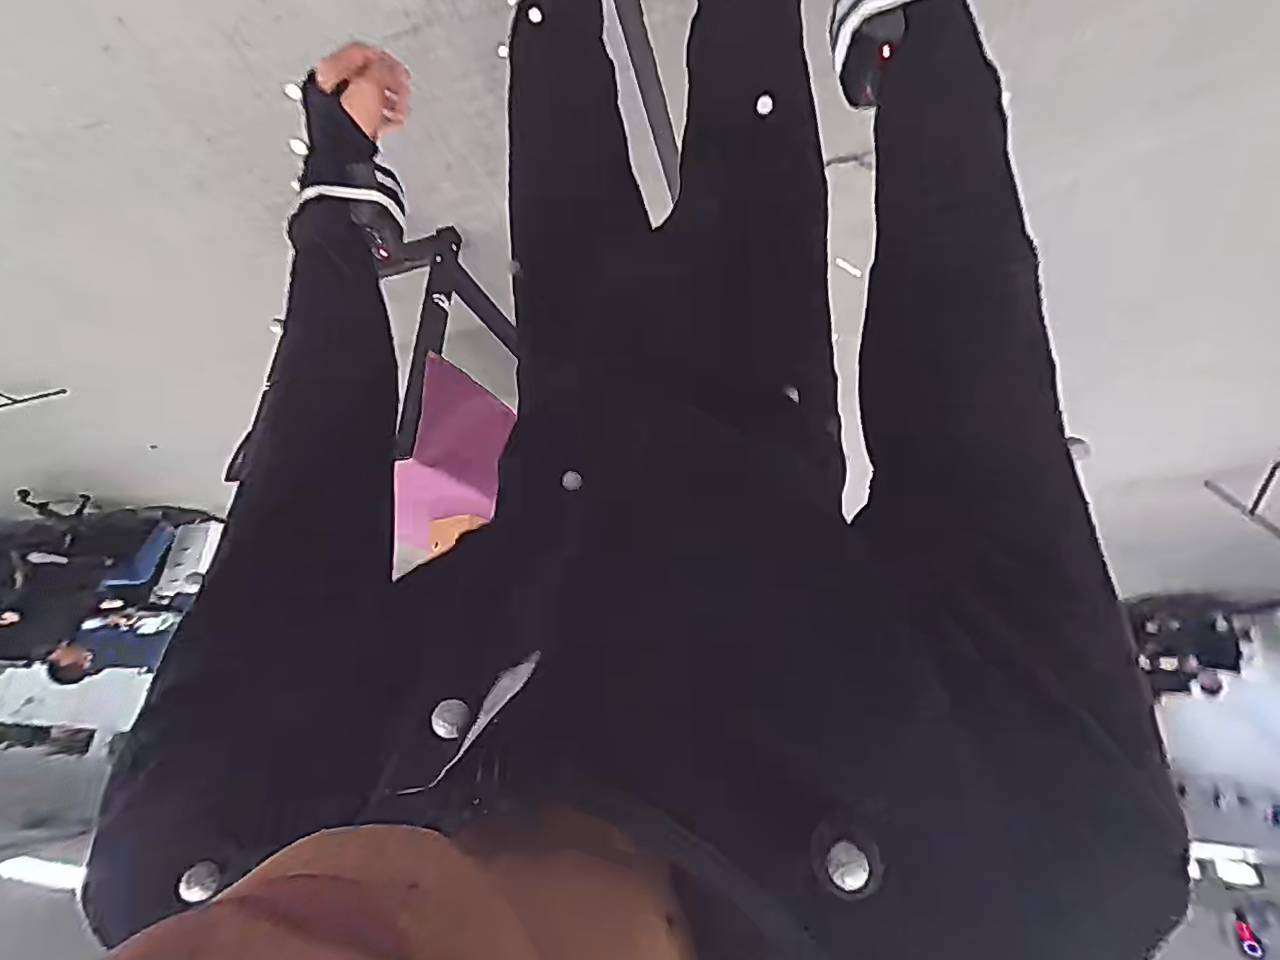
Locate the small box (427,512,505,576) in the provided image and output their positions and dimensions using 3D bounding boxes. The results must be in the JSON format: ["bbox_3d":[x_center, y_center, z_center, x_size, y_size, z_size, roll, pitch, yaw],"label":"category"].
[{"bbox_3d":[-0.560,0.211,1.761,0.179,0.176,0.168,-10,158,27],"label":"small box"}]
